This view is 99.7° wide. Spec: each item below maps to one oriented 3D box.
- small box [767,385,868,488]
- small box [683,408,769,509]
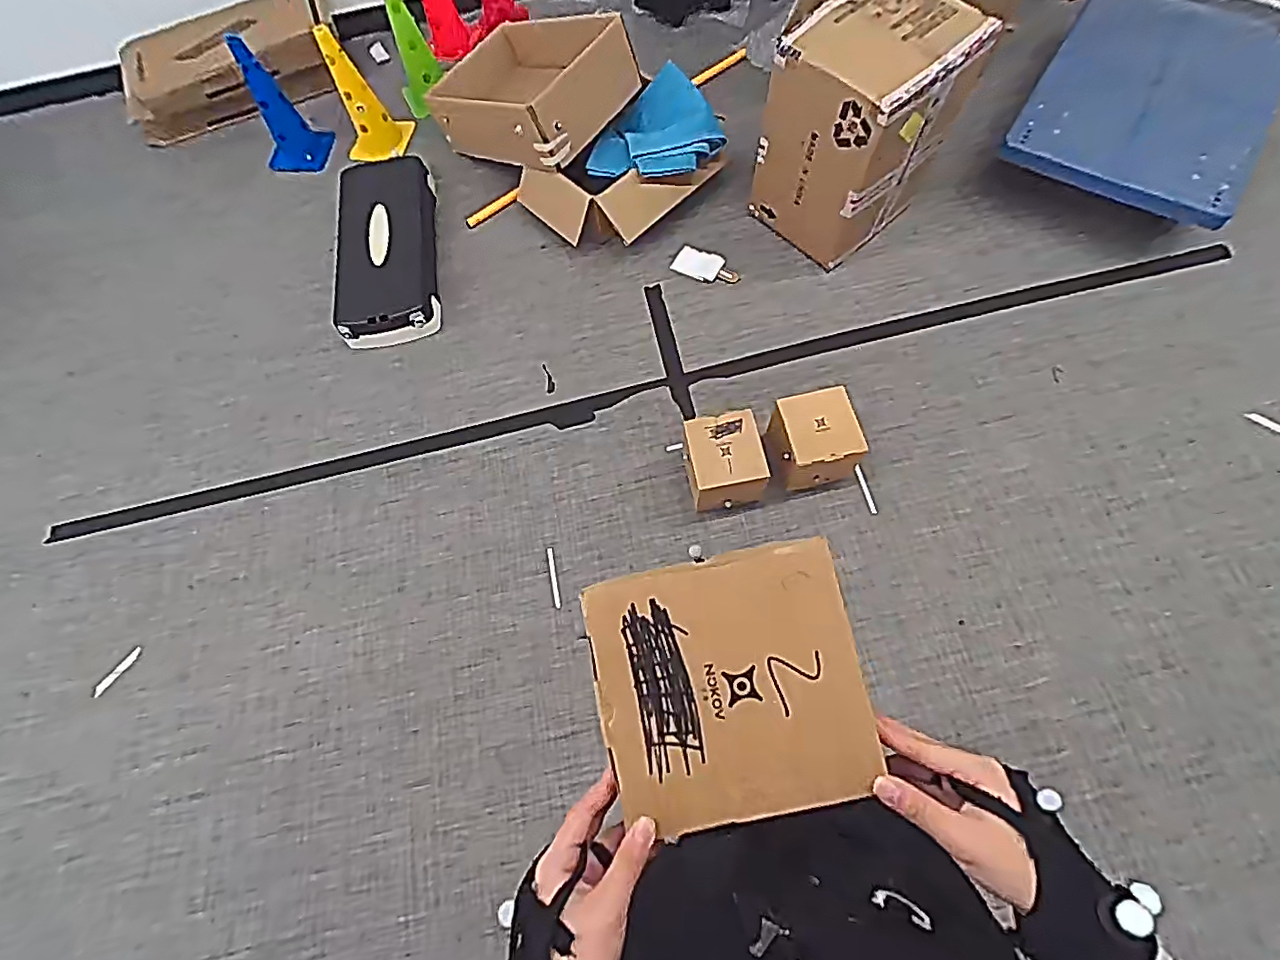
[{"bbox_3d":[0.418,-0.101,1.310,0.168,0.176,0.179,-12,69,-1],"label":"small box"},{"bbox_3d":[0.198,-0.047,1.301,0.168,0.176,0.179,-11,69,0],"label":"small box"}]
